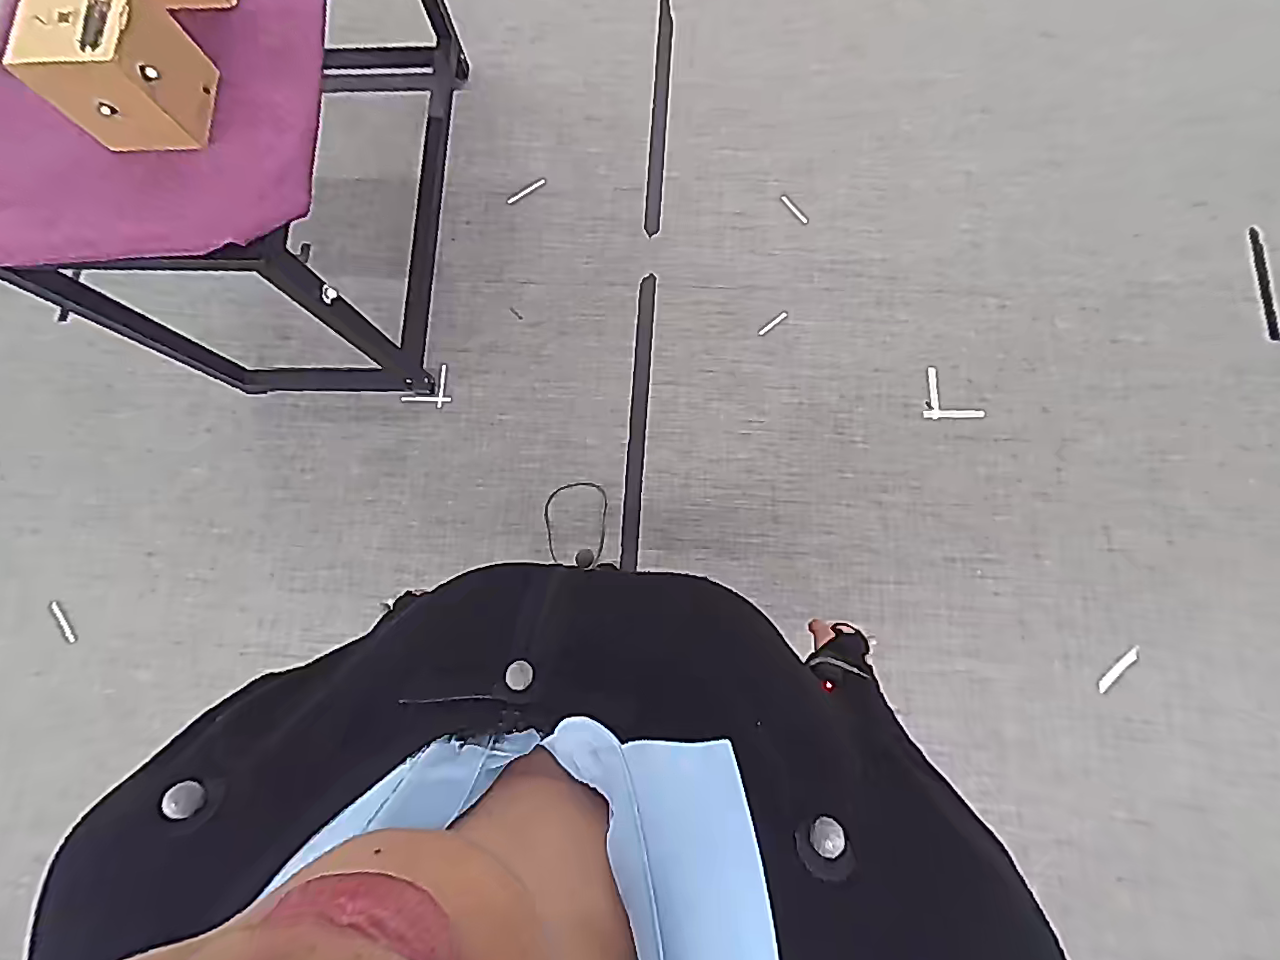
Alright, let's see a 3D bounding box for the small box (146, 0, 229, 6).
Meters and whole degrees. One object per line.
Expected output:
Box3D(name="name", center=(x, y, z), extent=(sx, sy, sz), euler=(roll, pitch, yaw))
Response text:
Box3D(name="small box", center=(-0.842, -0.981, 0.949), extent=(0.179, 0.176, 0.168), euler=(1, 79, 2))
